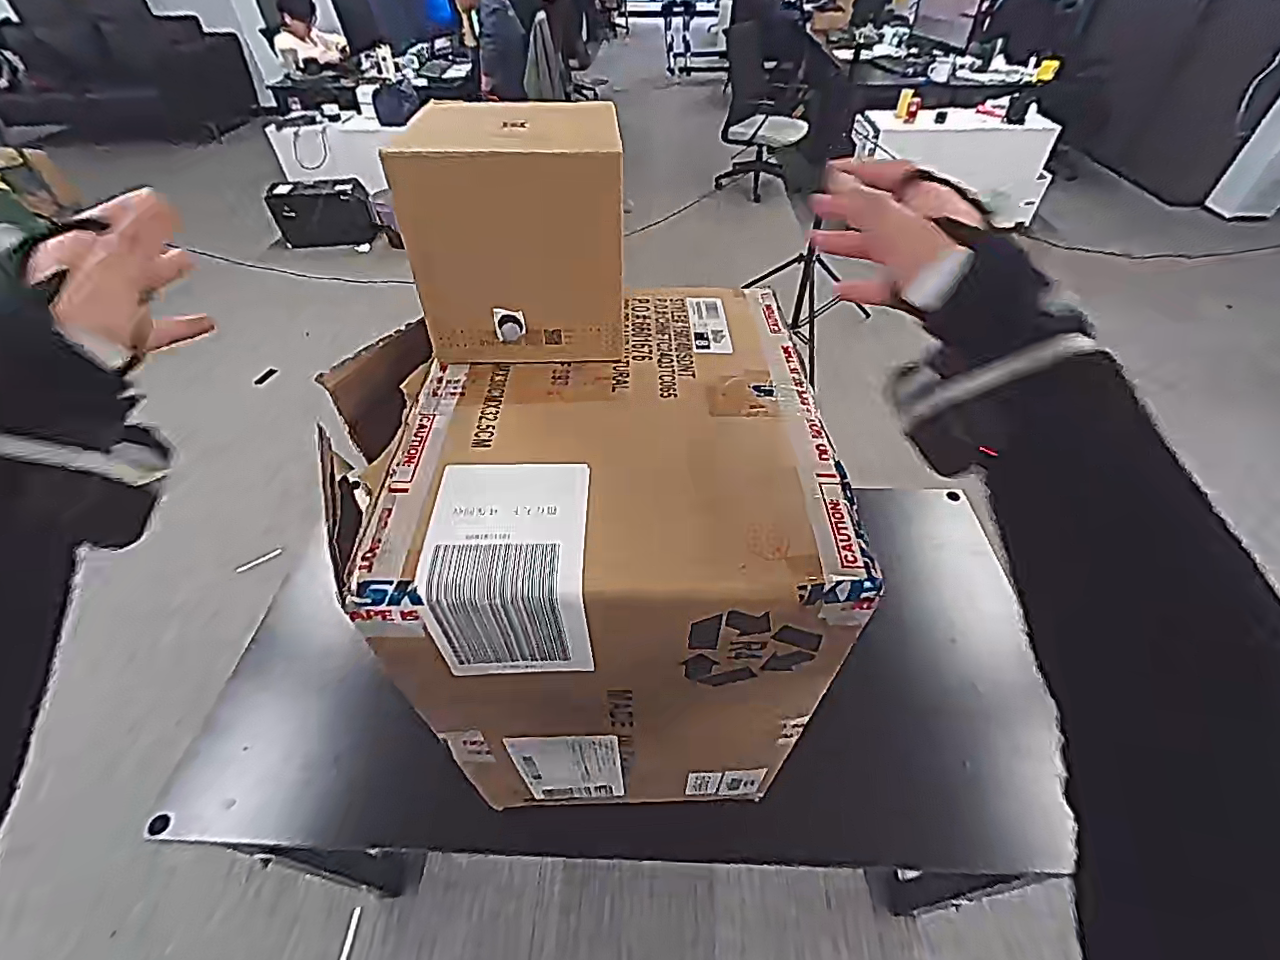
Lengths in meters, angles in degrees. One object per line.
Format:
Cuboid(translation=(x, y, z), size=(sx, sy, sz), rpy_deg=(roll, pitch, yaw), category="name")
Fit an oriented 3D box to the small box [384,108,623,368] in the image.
Cuboid(translation=(-0.101, -0.218, 0.487), size=(0.168, 0.176, 0.179), rpy_deg=(-3, 45, -3), category="small box")
